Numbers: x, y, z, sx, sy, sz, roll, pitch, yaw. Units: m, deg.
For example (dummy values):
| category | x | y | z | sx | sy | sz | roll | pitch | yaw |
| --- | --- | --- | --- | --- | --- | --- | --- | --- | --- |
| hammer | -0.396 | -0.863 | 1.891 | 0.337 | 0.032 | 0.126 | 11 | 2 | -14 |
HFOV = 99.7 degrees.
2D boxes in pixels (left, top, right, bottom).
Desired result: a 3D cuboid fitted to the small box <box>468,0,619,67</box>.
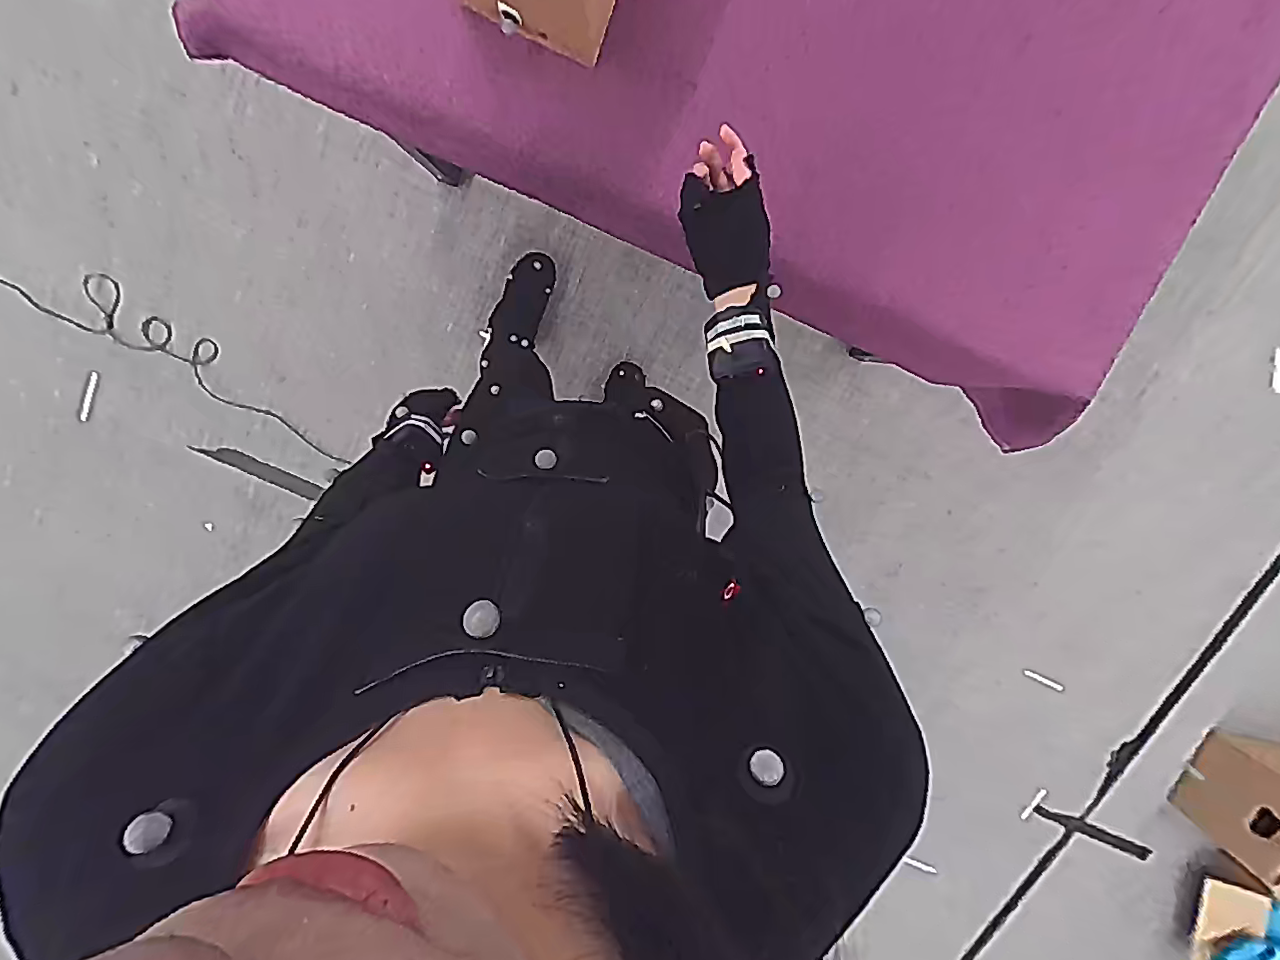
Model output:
| category | x | y | z | sx | sy | sz | roll | pitch | yaw |
| --- | --- | --- | --- | --- | --- | --- | --- | --- | --- |
| small box | -0.095 | -0.569 | 0.535 | 0.168 | 0.176 | 0.179 | 20 | 103 | -6 |
